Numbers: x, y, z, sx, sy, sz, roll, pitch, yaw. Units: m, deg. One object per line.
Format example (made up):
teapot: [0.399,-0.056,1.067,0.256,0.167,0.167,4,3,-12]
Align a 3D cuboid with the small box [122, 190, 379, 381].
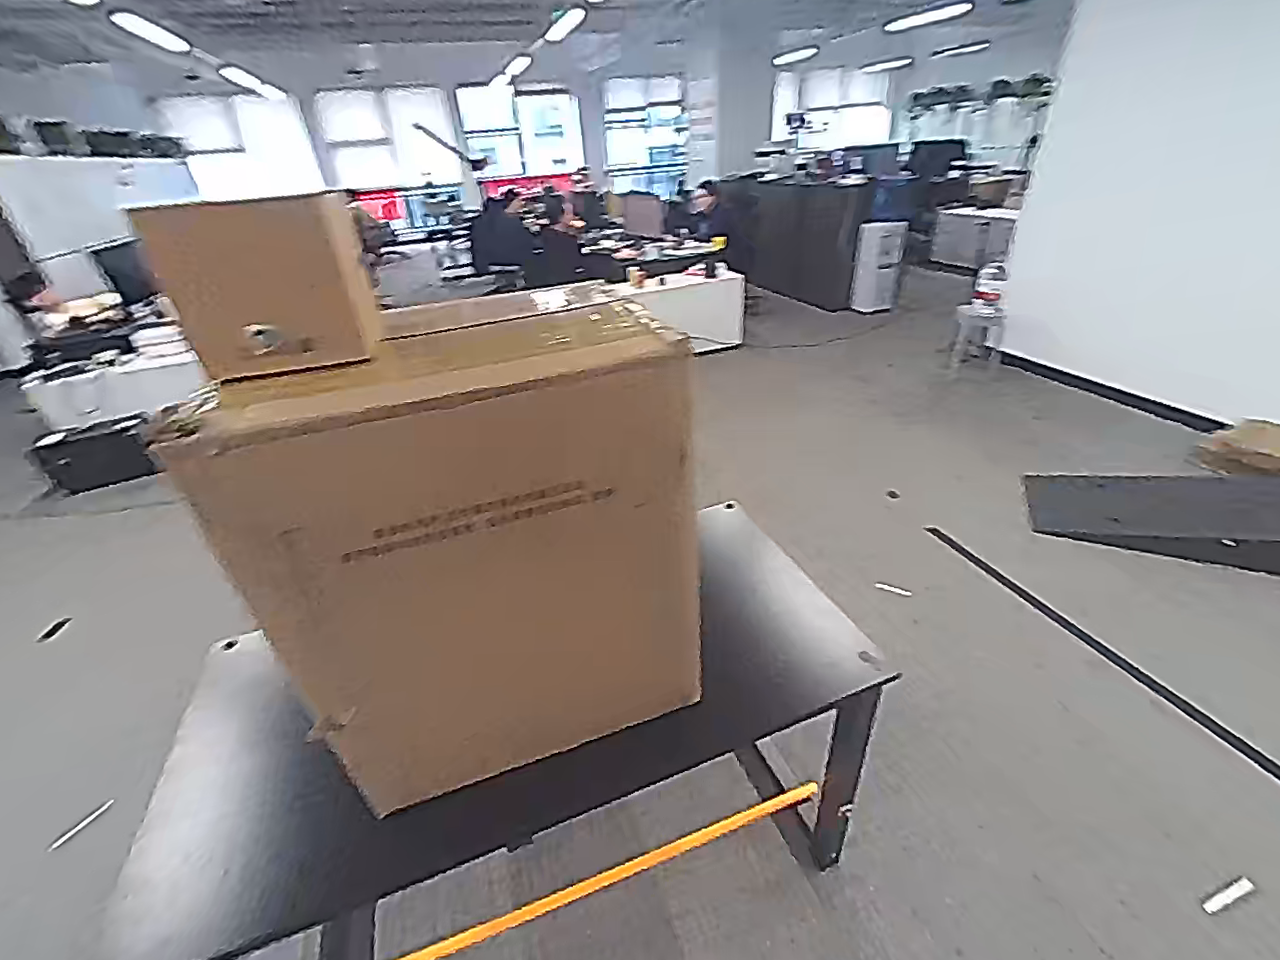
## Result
small box: [-0.408,-0.224,0.610,0.168,0.176,0.179,-14,32,-15]
